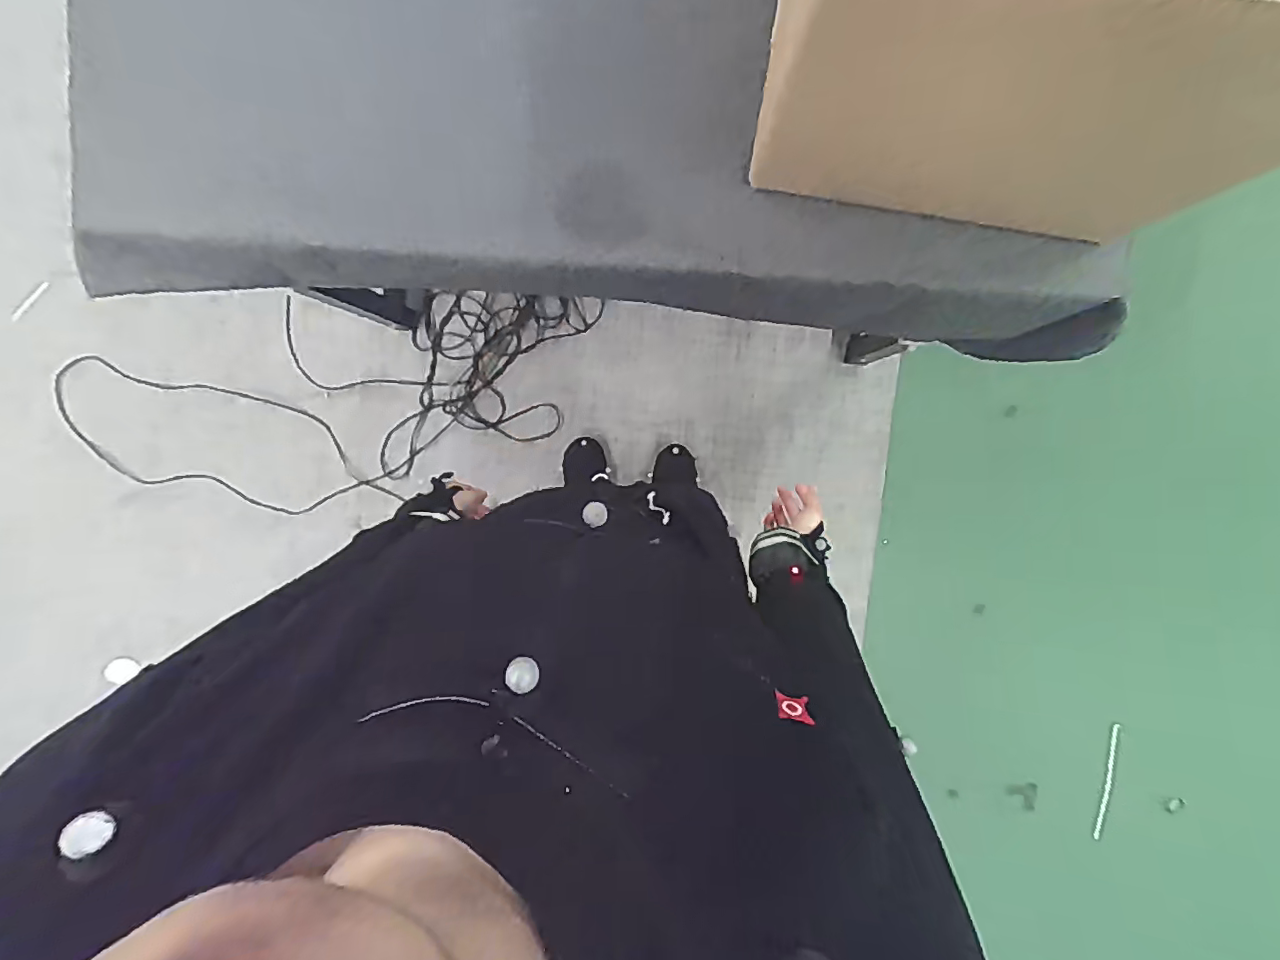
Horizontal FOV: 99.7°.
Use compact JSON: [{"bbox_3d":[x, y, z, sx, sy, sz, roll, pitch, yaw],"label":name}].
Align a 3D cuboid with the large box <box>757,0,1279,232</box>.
[{"bbox_3d":[0.339,-0.436,0.438,0.408,0.320,0.320,9,95,0],"label":"large box"}]
